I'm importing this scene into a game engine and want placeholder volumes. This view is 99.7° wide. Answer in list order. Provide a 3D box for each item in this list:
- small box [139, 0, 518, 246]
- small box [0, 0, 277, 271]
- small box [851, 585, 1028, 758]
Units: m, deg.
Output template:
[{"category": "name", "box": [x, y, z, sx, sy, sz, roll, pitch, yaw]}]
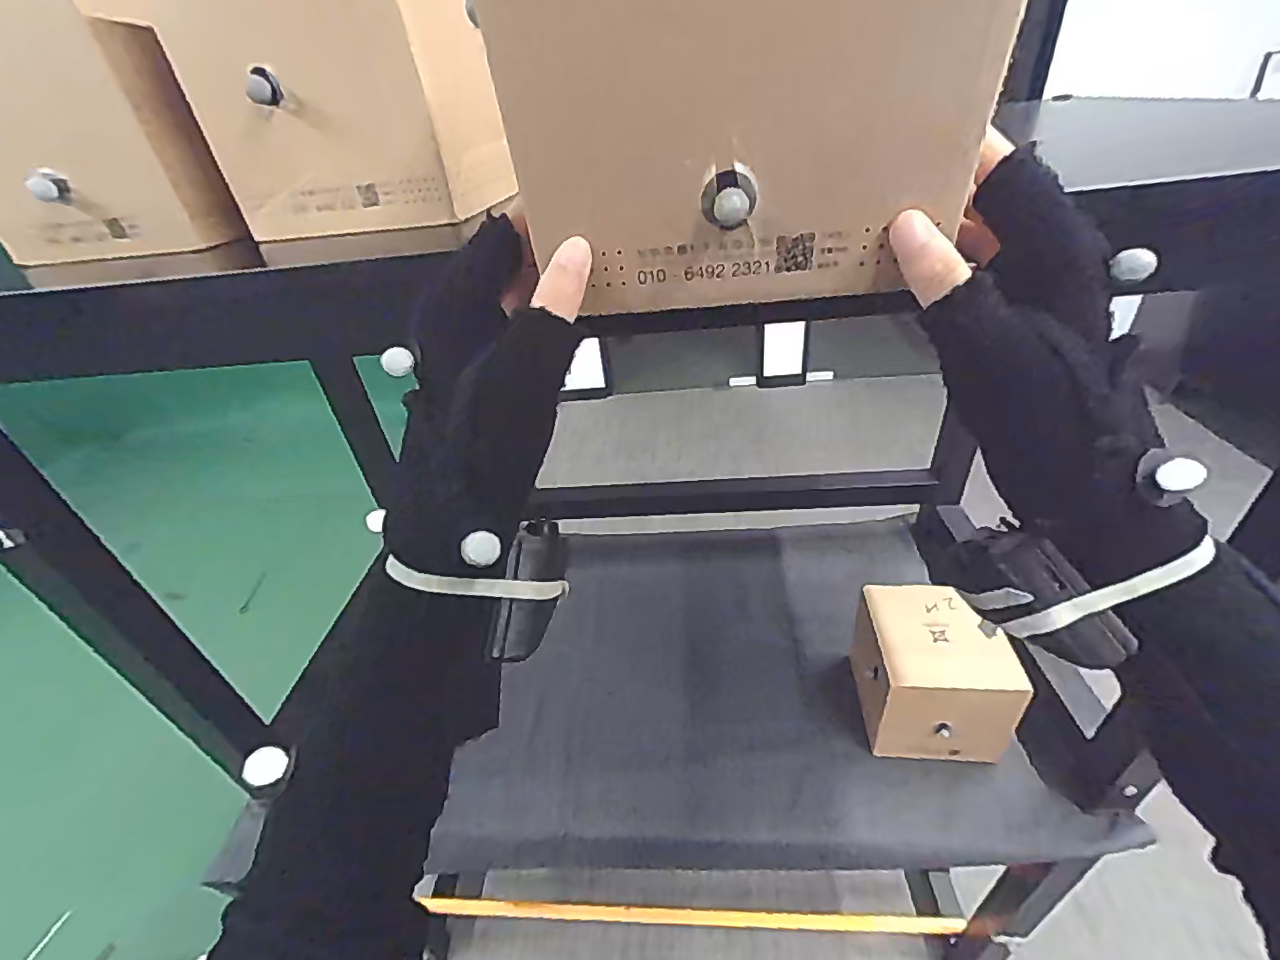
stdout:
[{"category": "small box", "box": [-0.209, -0.290, 0.425, 0.168, 0.176, 0.179, -2, 35, 8]}, {"category": "small box", "box": [-0.405, -0.280, 0.442, 0.168, 0.176, 0.179, -2, 36, 7]}, {"category": "small box", "box": [0.412, 0.273, 0.779, 0.168, 0.176, 0.179, -1, 35, 9]}]
